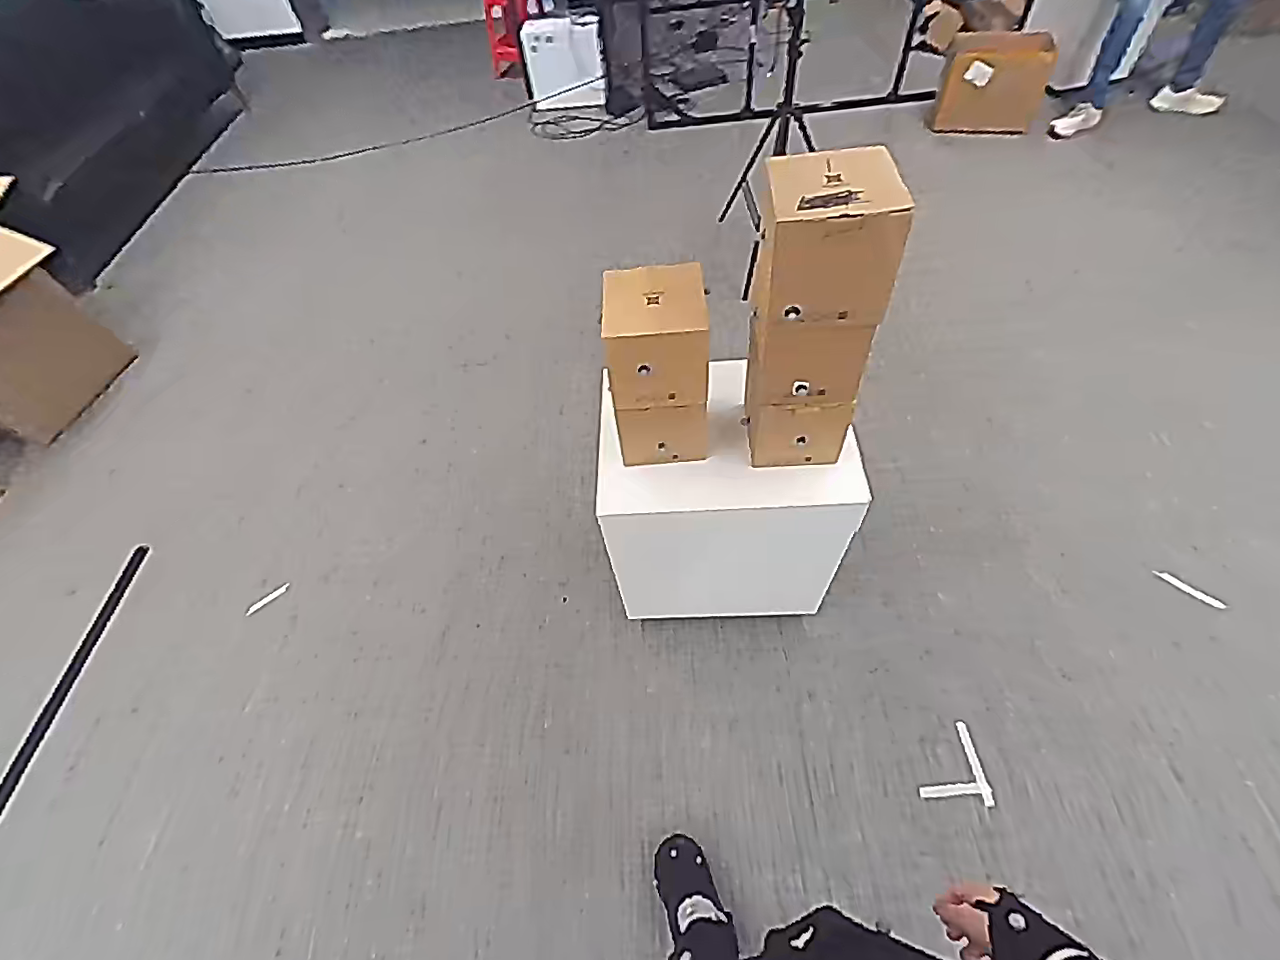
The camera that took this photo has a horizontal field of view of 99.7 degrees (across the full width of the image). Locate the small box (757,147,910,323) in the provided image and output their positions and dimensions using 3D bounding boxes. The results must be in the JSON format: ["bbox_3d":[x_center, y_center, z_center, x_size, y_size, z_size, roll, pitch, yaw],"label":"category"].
[{"bbox_3d":[0.259,-0.338,0.769,0.168,0.176,0.179,-2,53,7],"label":"small box"}]

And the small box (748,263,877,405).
[{"bbox_3d":[0.274,-0.246,0.904,0.168,0.176,0.179,-3,55,6],"label":"small box"}]

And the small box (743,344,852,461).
[{"bbox_3d":[0.289,-0.146,1.031,0.168,0.176,0.179,-2,56,4],"label":"small box"}]

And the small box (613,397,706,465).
[{"bbox_3d":[0.037,-0.151,1.063,0.168,0.176,0.179,-5,55,3],"label":"small box"}]

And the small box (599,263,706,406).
[{"bbox_3d":[0.025,-0.241,0.928,0.168,0.176,0.179,-4,54,3],"label":"small box"}]
